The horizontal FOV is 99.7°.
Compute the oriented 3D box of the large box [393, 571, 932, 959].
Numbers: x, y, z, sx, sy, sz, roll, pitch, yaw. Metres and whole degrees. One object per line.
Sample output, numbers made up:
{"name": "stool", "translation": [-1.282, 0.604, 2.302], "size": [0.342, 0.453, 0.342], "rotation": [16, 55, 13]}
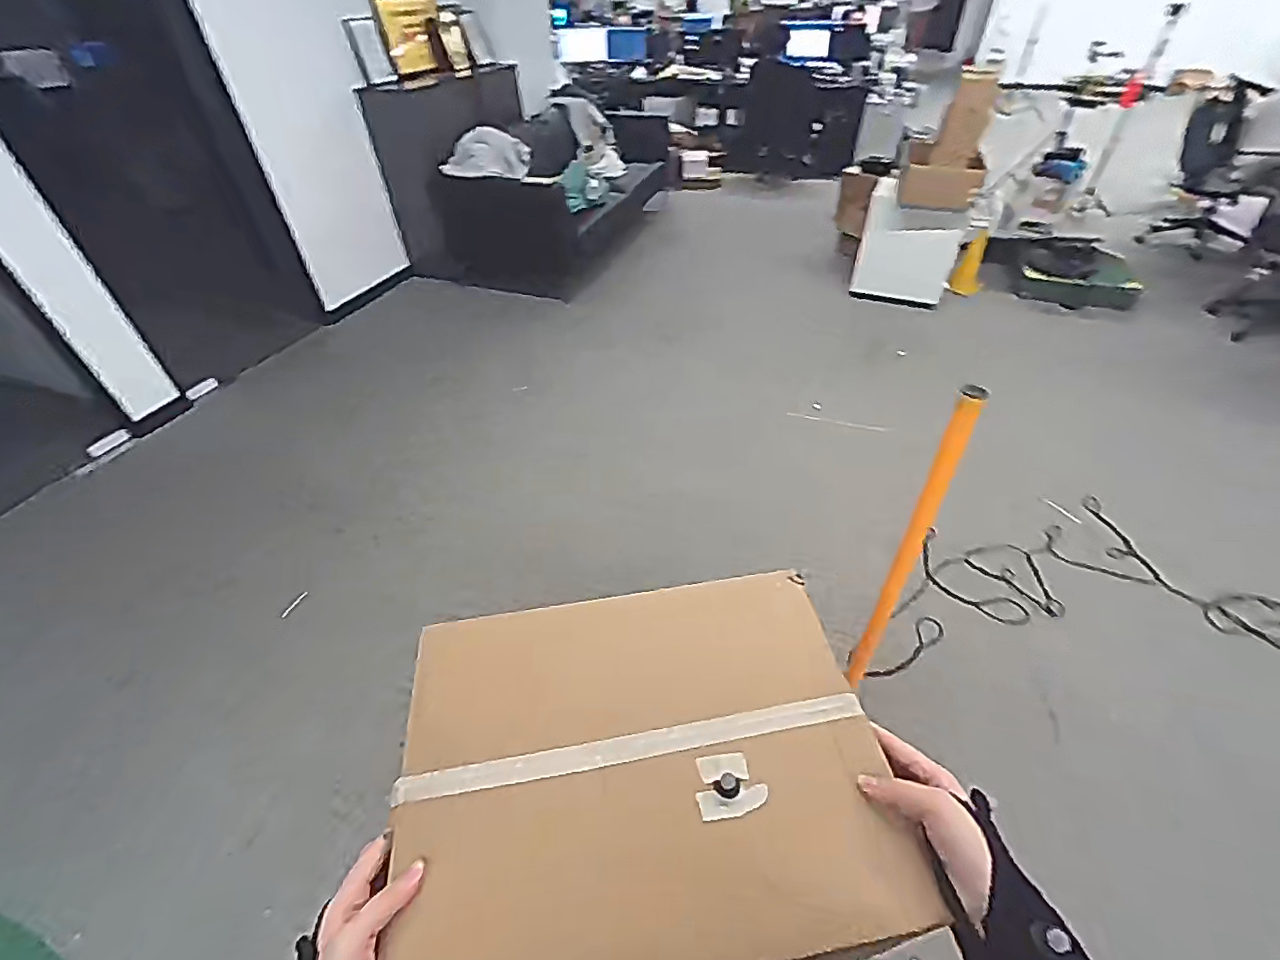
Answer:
{"name": "large box", "translation": [-0.001, 0.342, 0.584], "size": [0.408, 0.320, 0.320], "rotation": [-8, 45, -8]}
